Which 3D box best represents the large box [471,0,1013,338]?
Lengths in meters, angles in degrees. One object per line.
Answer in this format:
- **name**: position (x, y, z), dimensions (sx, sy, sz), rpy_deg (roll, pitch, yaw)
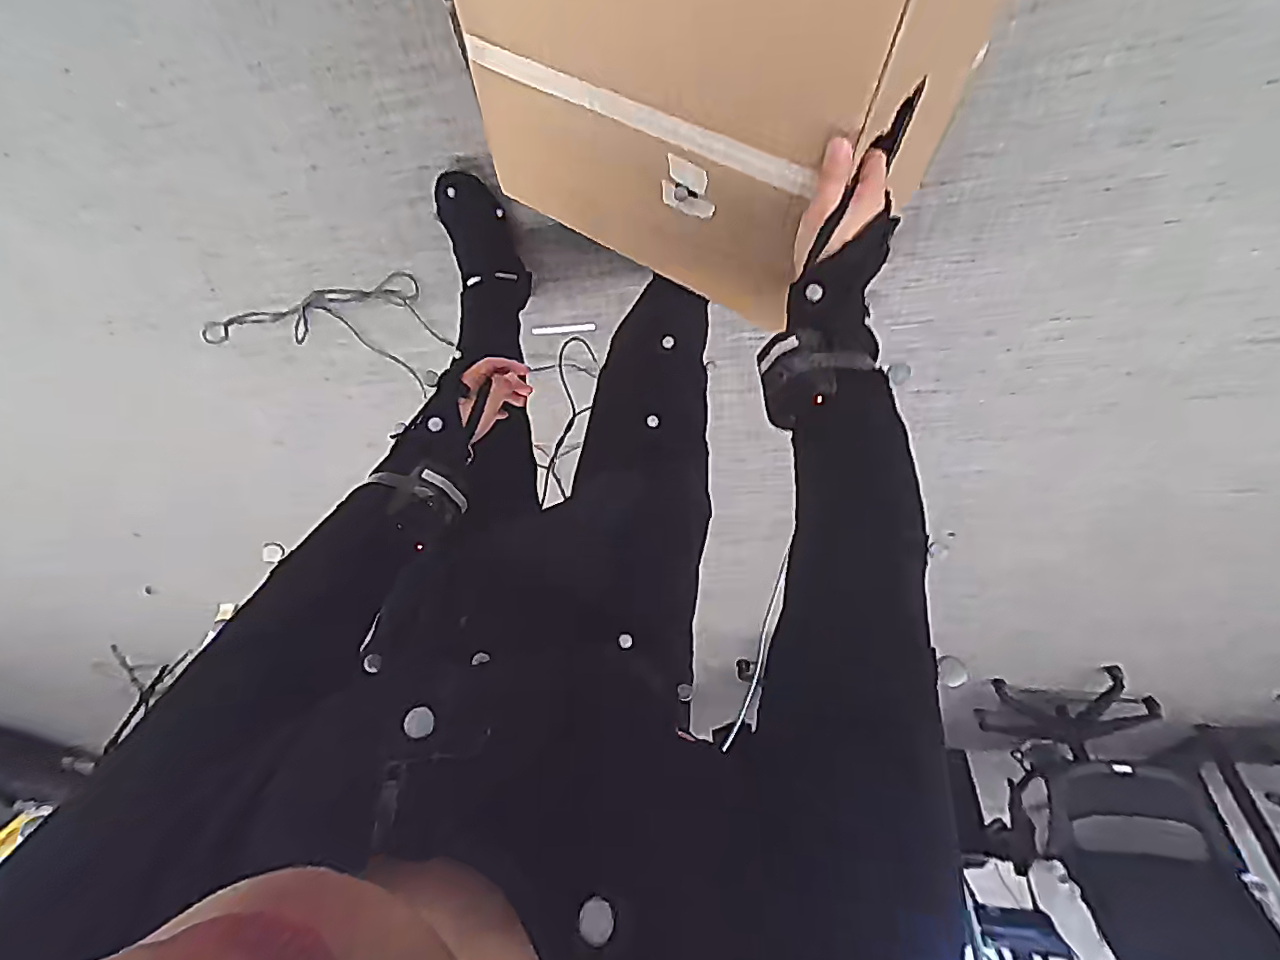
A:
- **large box**: position (0.093, -0.420, 0.526), dimensions (0.408, 0.320, 0.320), rpy_deg (33, 156, 17)
